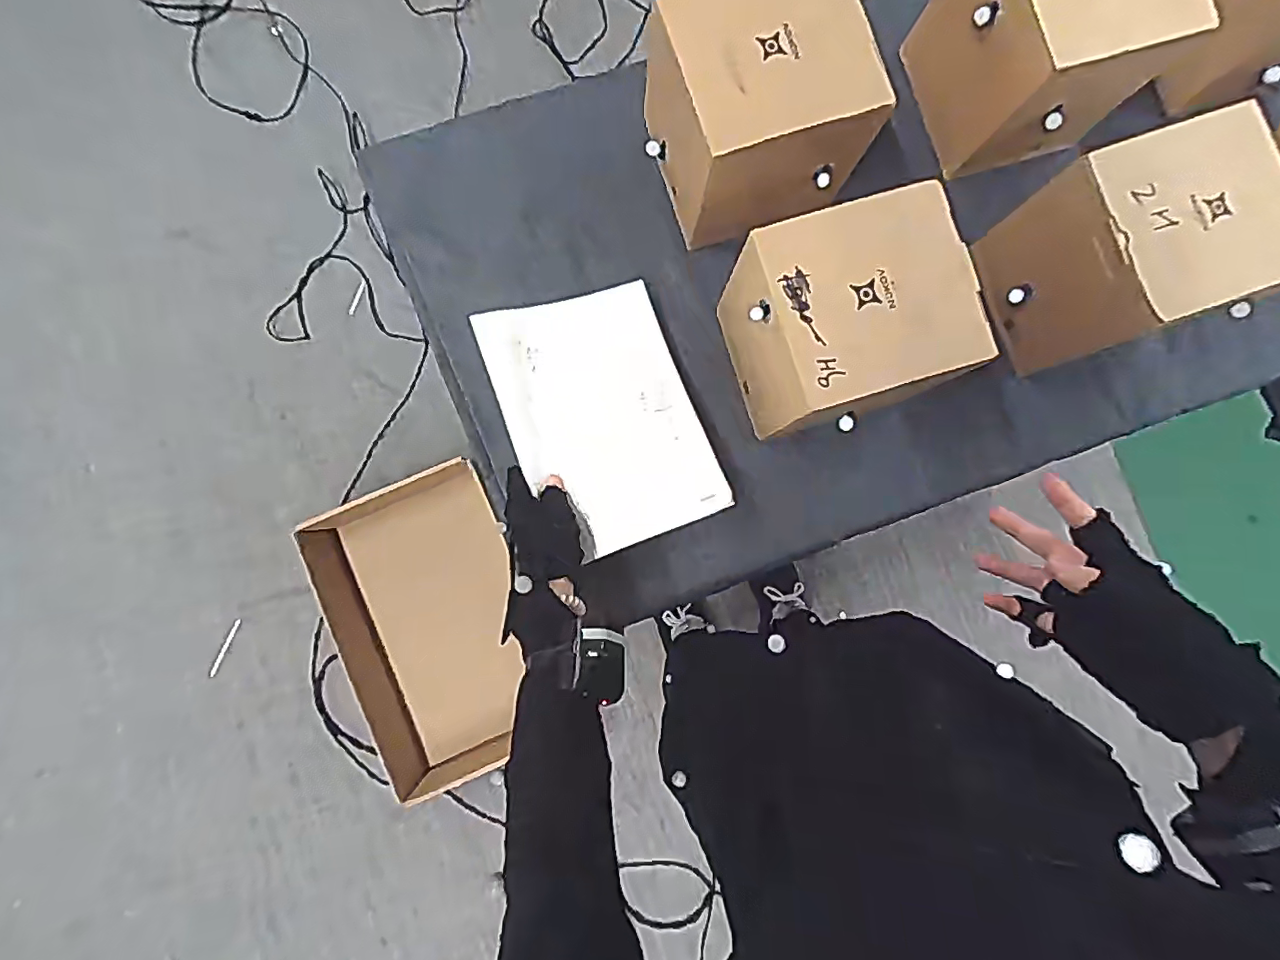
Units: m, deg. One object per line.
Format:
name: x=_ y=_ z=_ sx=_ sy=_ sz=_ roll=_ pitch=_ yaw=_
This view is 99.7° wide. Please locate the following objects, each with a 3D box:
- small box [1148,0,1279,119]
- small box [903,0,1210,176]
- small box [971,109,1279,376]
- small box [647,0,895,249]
small box: x=0.694 y=-0.548 z=0.590 sx=0.168 sy=0.176 sz=0.179 roll=-17 pitch=87 yaw=-3
small box: x=0.419 y=-0.459 z=0.576 sx=0.168 sy=0.176 sz=0.179 roll=-17 pitch=86 yaw=-3
small box: x=0.494 y=-0.226 z=0.557 sx=0.179 sy=0.176 sz=0.168 roll=-19 pitch=86 yaw=-3
small box: x=0.116 y=-0.371 z=0.555 sx=0.179 sy=0.176 sz=0.168 roll=-18 pitch=86 yaw=-4
